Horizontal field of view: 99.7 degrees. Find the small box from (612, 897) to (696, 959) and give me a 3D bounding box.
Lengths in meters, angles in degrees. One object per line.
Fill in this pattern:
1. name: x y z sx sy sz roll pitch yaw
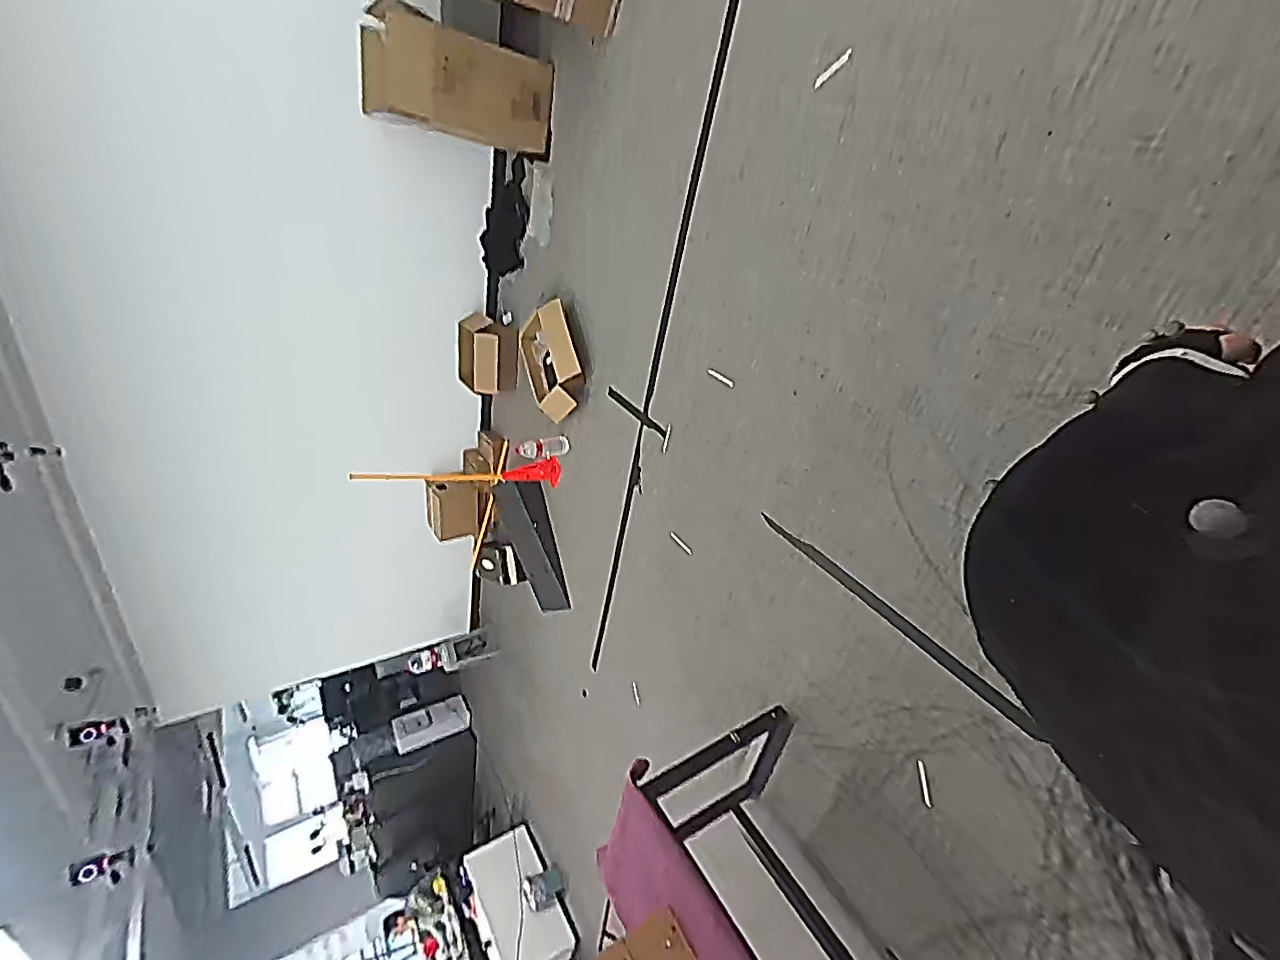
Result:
1. small box: 0.042 1.391 1.598 0.168 0.176 0.179 48 135 37
